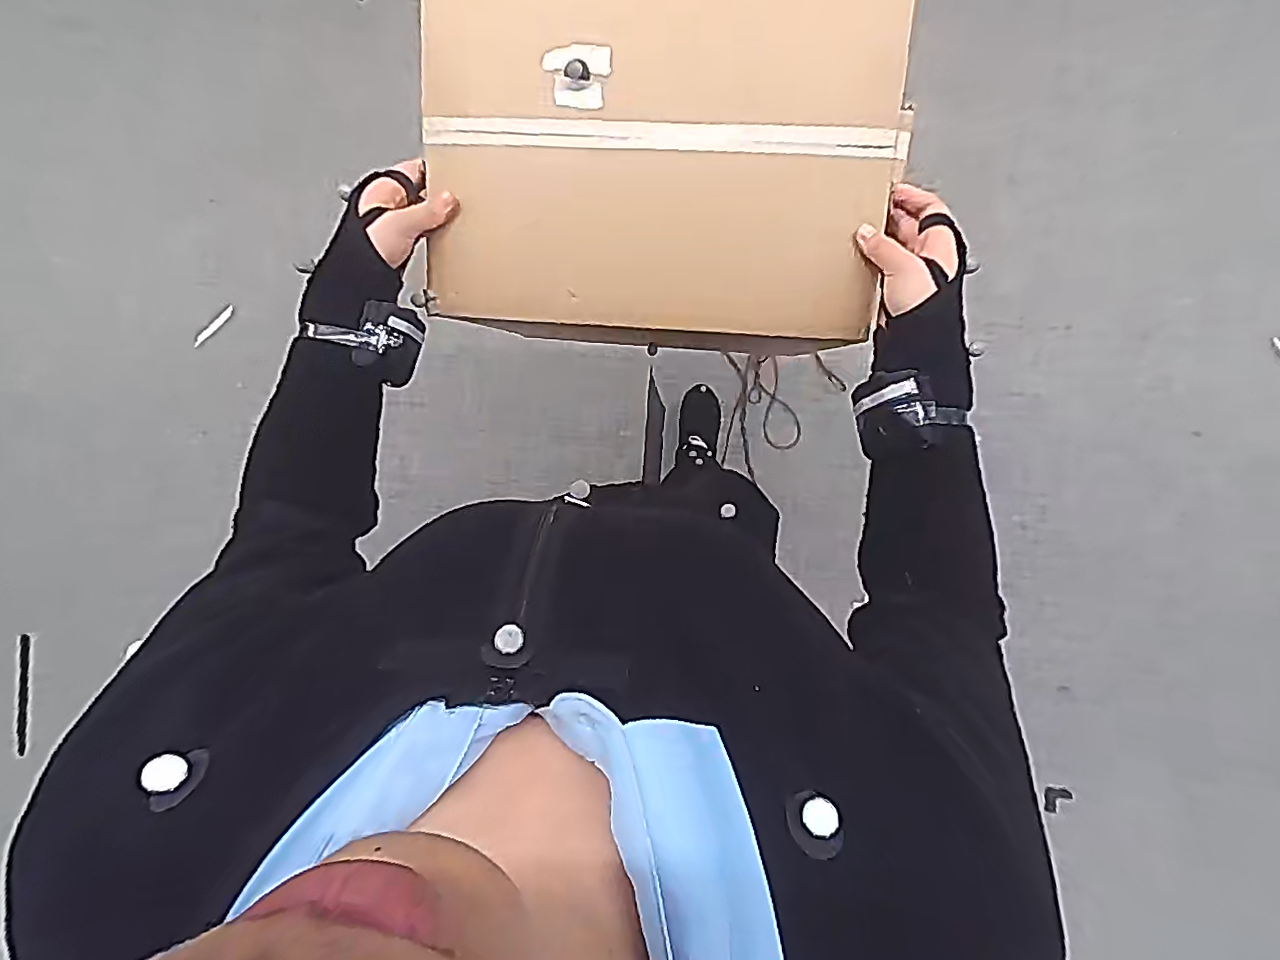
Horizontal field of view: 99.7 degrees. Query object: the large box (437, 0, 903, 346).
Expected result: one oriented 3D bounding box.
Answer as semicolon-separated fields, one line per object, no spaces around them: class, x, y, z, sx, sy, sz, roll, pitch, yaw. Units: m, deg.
large box;0.030;-0.324;0.622;0.408;0.320;0.320;4;100;5
